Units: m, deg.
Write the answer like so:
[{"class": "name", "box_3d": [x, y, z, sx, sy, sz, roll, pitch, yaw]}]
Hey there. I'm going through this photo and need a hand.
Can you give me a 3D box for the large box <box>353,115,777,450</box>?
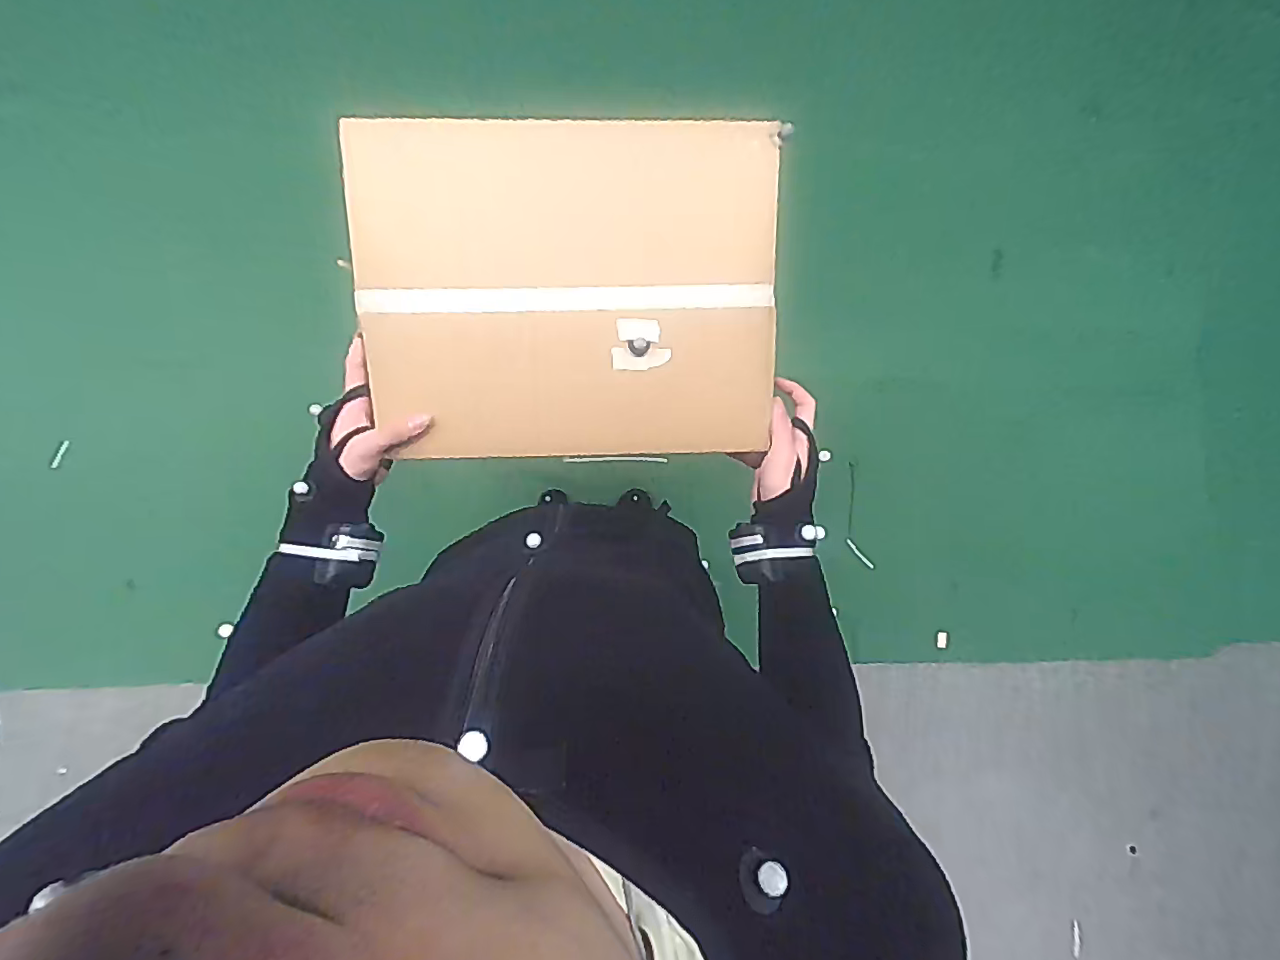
[{"class": "large box", "box_3d": [-0.073, -0.220, 0.681, 0.408, 0.320, 0.320, -2, 103, -3]}]
